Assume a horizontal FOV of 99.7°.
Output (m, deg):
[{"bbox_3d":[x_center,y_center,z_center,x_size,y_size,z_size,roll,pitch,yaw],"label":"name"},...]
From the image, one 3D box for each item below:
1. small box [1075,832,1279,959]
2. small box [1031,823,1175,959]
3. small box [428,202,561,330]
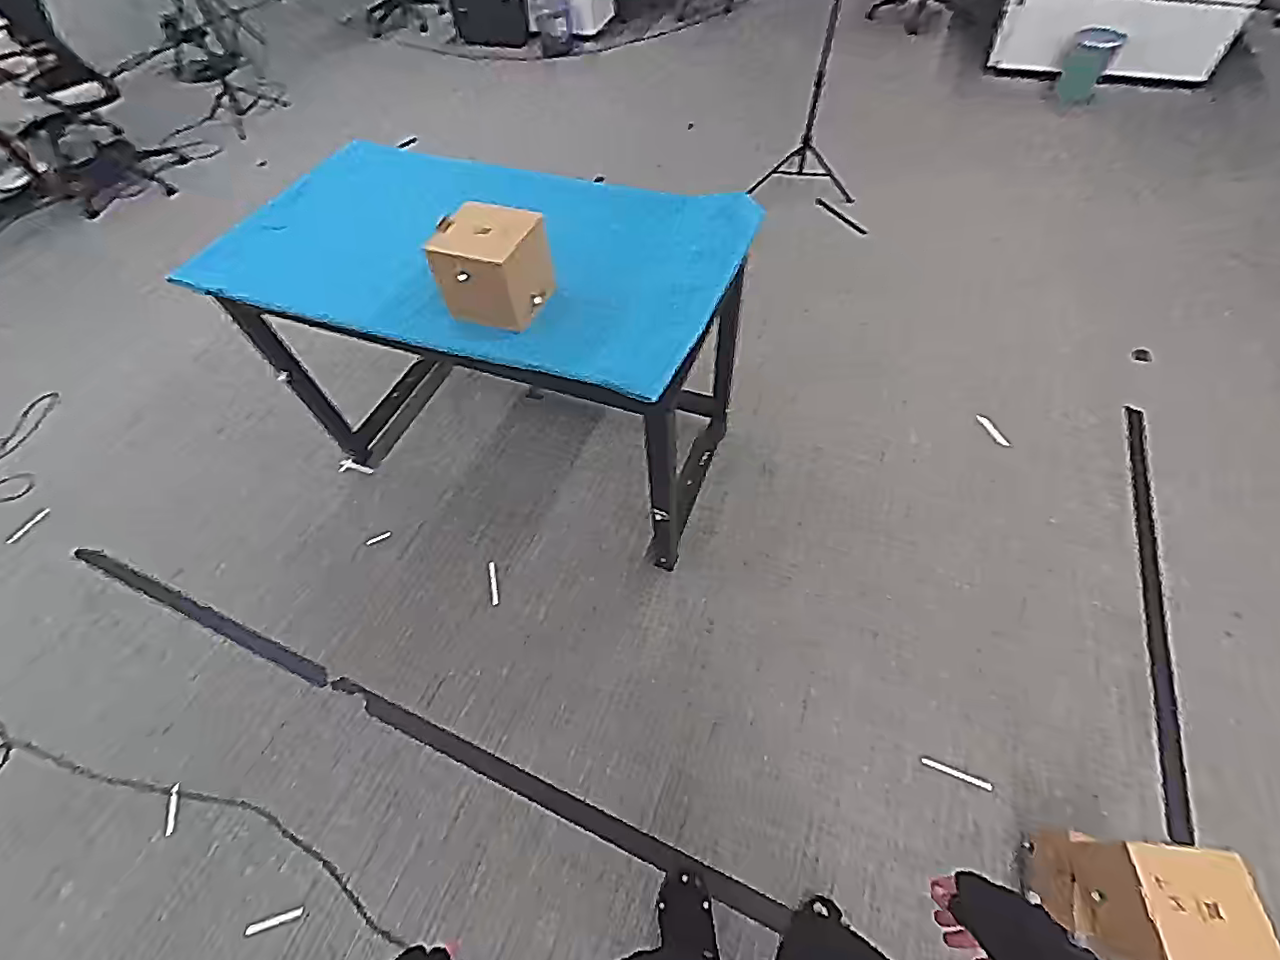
[{"bbox_3d":[0.896,0.706,0.913,0.179,0.176,0.168,4,56,10],"label":"small box"},{"bbox_3d":[0.896,0.796,1.052,0.179,0.176,0.168,17,60,14],"label":"small box"},{"bbox_3d":[-0.282,-0.428,1.091,0.179,0.176,0.168,17,60,15],"label":"small box"}]
